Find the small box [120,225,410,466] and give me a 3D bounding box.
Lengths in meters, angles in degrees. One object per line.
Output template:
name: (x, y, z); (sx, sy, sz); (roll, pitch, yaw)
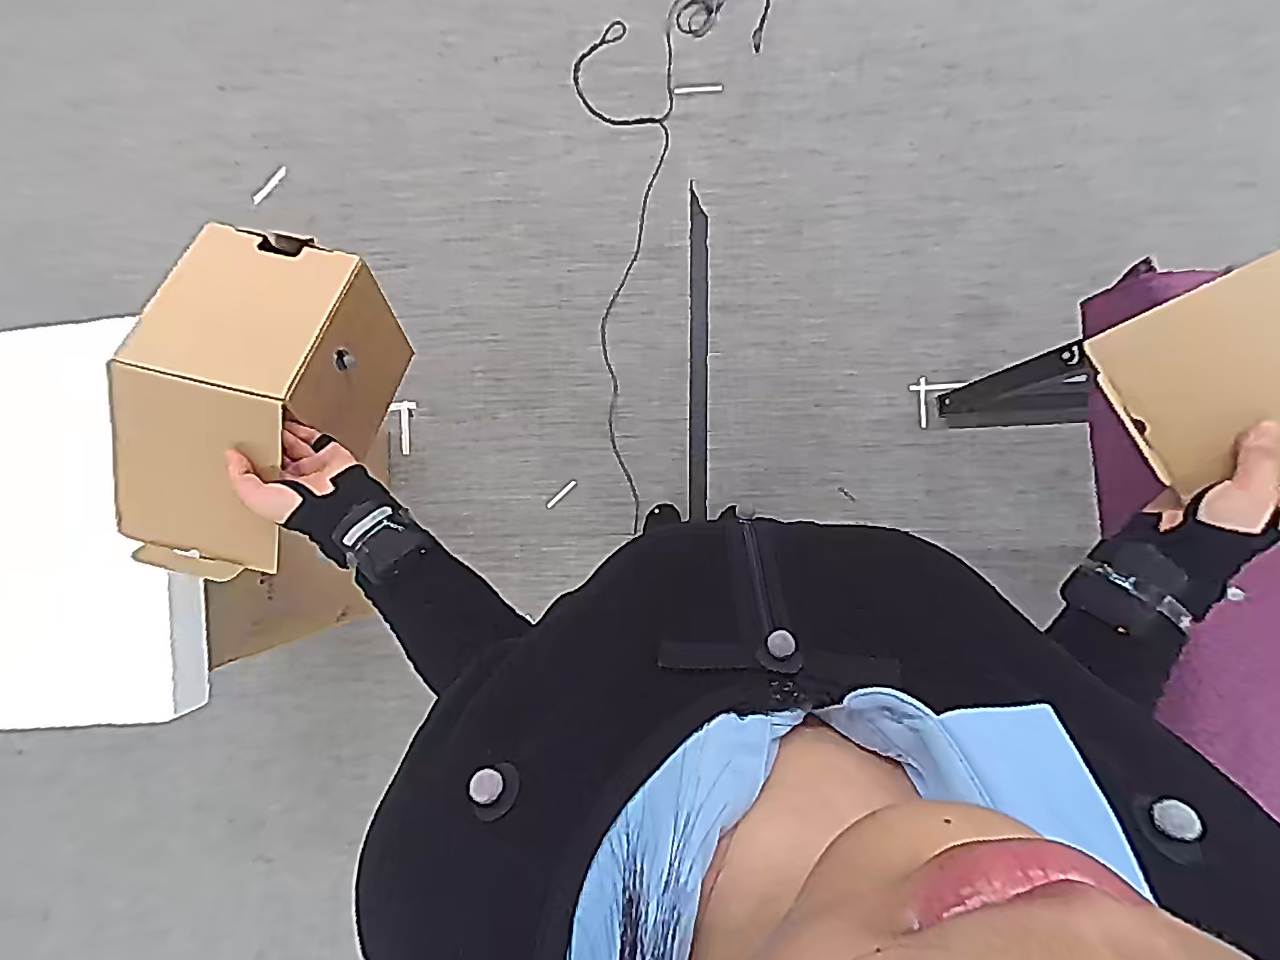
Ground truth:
small box: (-0.379, -0.135, 0.591); (0.168, 0.176, 0.179); (13, 67, 1)
